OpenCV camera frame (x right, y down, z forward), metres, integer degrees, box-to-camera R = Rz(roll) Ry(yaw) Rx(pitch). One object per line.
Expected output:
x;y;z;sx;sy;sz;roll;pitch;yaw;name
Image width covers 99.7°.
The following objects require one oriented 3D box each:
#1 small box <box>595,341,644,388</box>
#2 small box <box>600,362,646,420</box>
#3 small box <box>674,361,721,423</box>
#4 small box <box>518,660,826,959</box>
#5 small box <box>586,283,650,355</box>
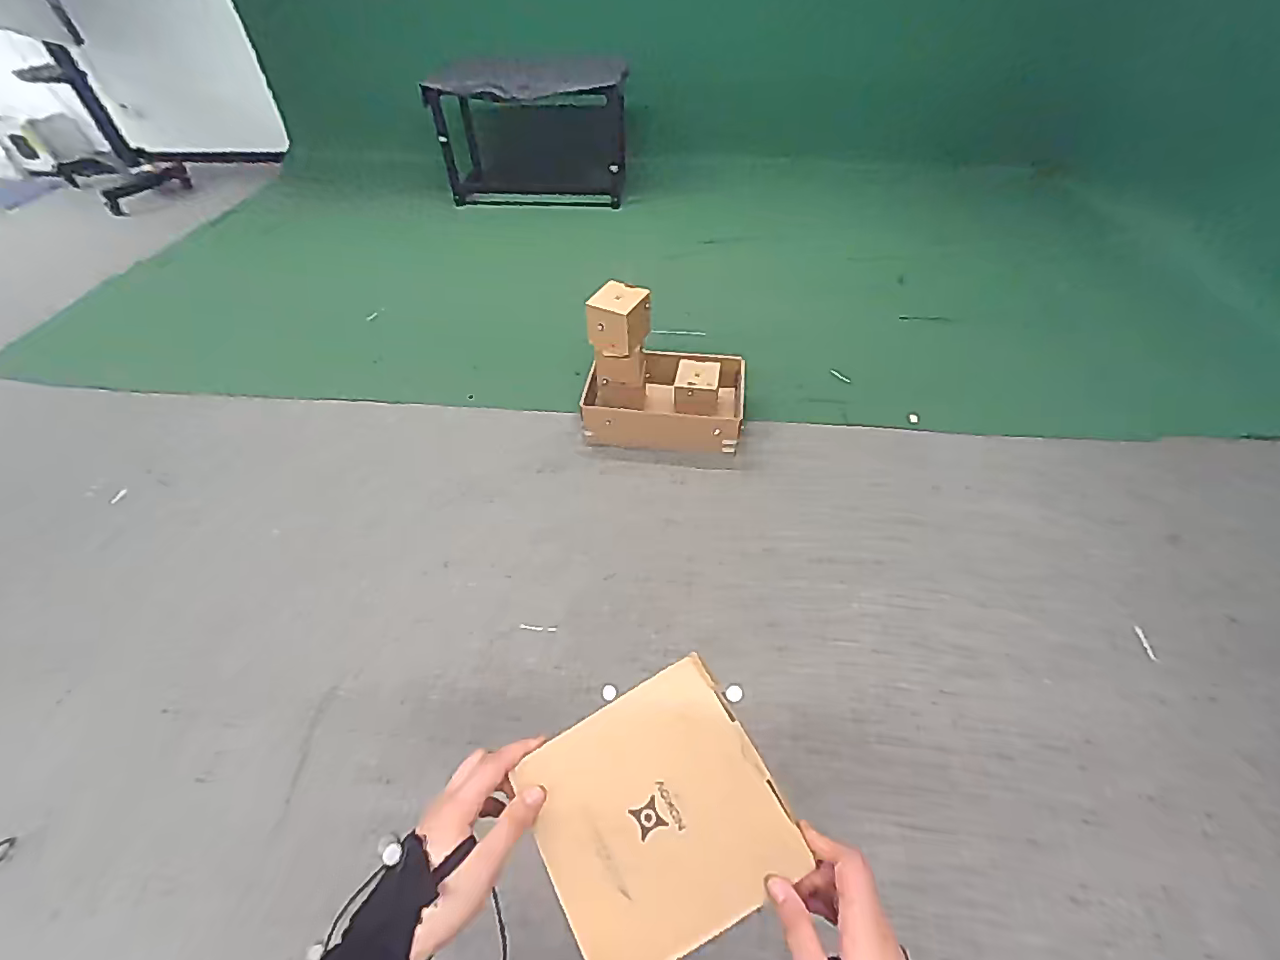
-0.073;-0.467;2.055;0.168;0.176;0.179;5;47;4;small box
-0.064;-0.364;2.183;0.168;0.176;0.179;3;48;4;small box
0.229;-0.354;2.170;0.168;0.176;0.179;7;48;9;small box
0.027;0.274;0.469;0.179;0.176;0.168;-31;69;-3;small box
-0.072;-0.572;1.930;0.168;0.176;0.179;22;51;19;small box
